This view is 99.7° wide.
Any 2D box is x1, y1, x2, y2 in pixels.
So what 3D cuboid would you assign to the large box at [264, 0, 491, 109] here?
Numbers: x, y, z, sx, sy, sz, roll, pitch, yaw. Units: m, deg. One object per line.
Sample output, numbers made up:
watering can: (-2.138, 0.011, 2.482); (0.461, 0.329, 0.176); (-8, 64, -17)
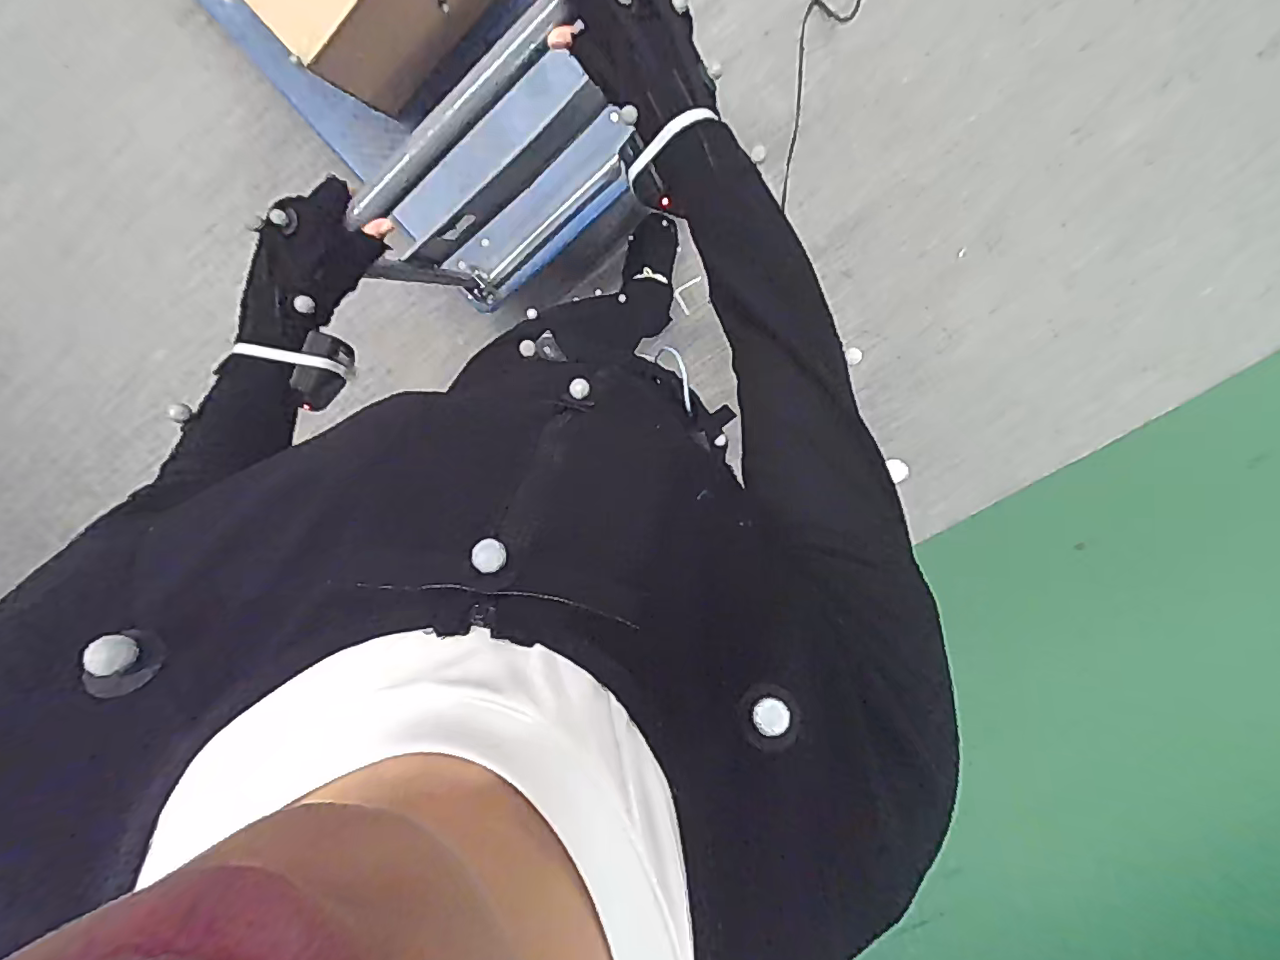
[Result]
large box: (-0.407, -0.876, 0.810); (0.408, 0.320, 0.320); (-40, 107, 15)
